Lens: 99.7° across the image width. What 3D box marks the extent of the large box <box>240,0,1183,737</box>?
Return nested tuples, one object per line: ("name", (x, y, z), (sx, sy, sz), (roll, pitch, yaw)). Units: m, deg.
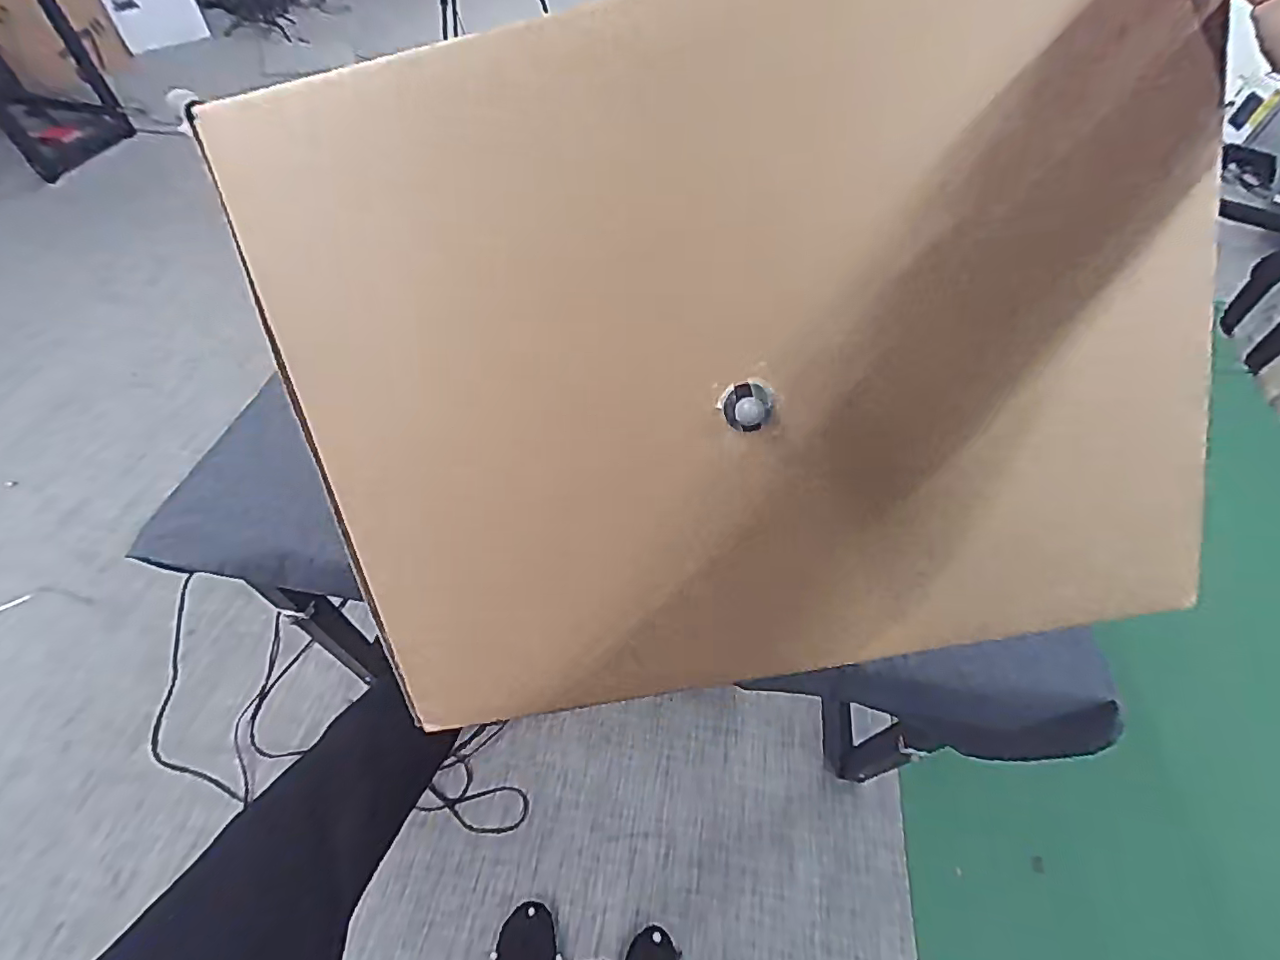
("large box", (0.055, -0.073, 0.402), (0.408, 0.320, 0.320), (-13, 14, 4))
